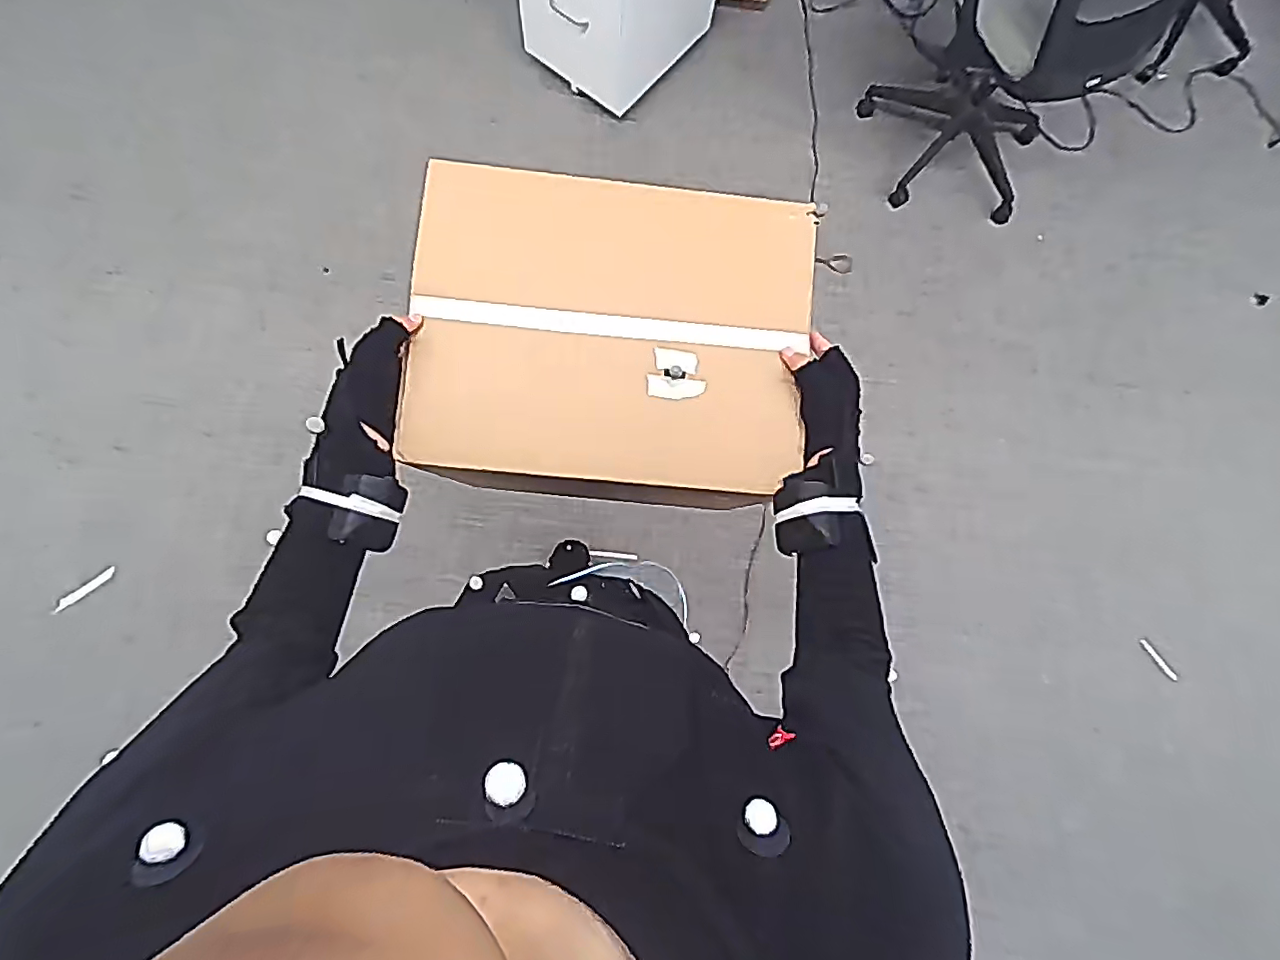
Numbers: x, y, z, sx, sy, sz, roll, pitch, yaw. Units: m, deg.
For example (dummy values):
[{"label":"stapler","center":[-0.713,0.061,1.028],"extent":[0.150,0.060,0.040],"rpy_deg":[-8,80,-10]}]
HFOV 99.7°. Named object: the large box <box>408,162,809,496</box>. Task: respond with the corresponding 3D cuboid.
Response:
[{"label":"large box","center":[-0.037,-0.154,0.710],"extent":[0.408,0.320,0.320],"rpy_deg":[6,86,-4]}]
